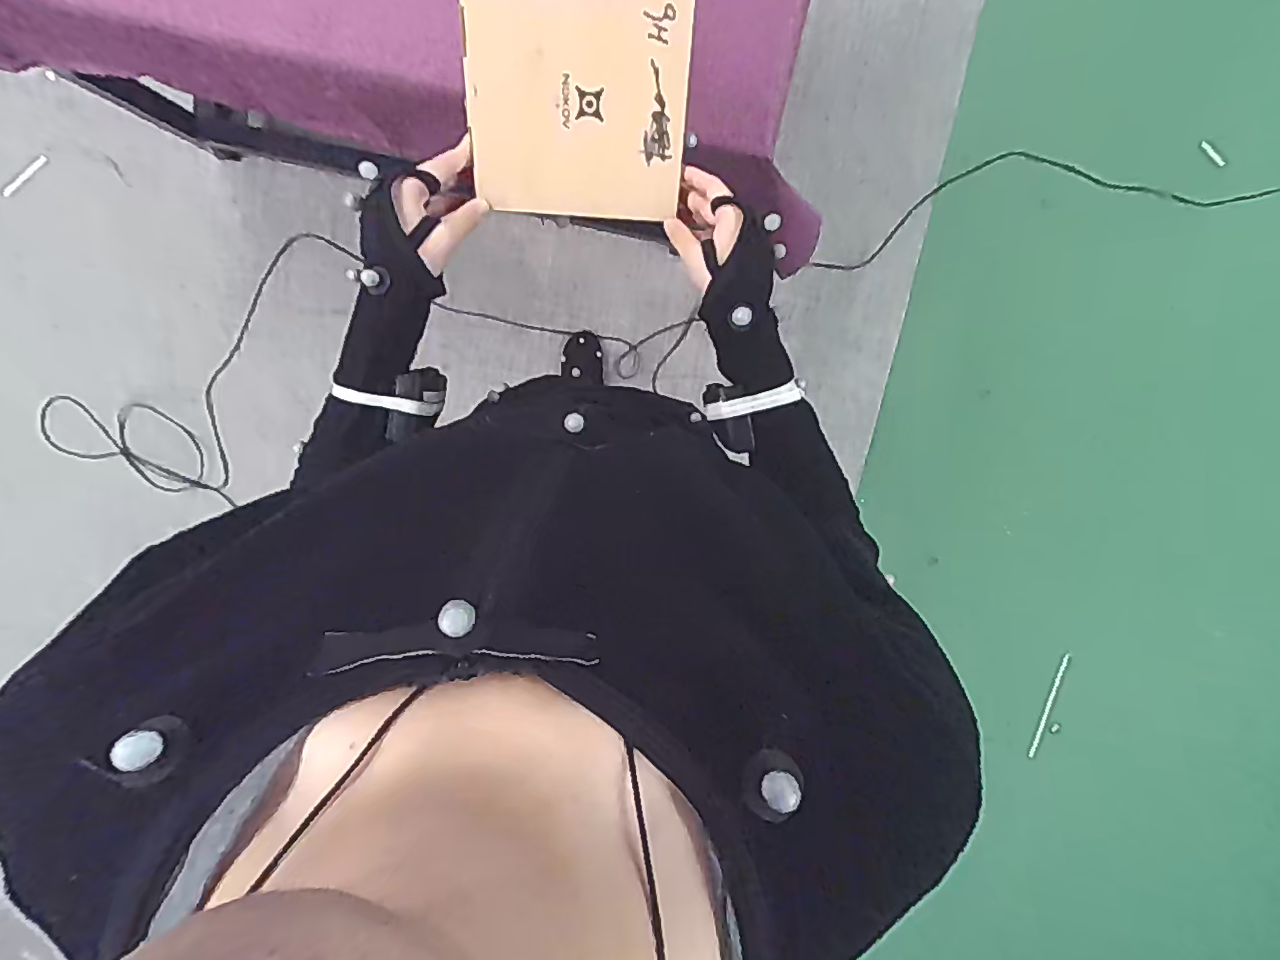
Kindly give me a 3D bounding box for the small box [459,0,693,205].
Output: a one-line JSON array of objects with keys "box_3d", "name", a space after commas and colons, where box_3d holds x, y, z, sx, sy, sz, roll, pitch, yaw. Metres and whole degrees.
[{"box_3d": [-0.056, -0.351, 0.495, 0.179, 0.176, 0.168, 2, 117, -6], "name": "small box"}]
